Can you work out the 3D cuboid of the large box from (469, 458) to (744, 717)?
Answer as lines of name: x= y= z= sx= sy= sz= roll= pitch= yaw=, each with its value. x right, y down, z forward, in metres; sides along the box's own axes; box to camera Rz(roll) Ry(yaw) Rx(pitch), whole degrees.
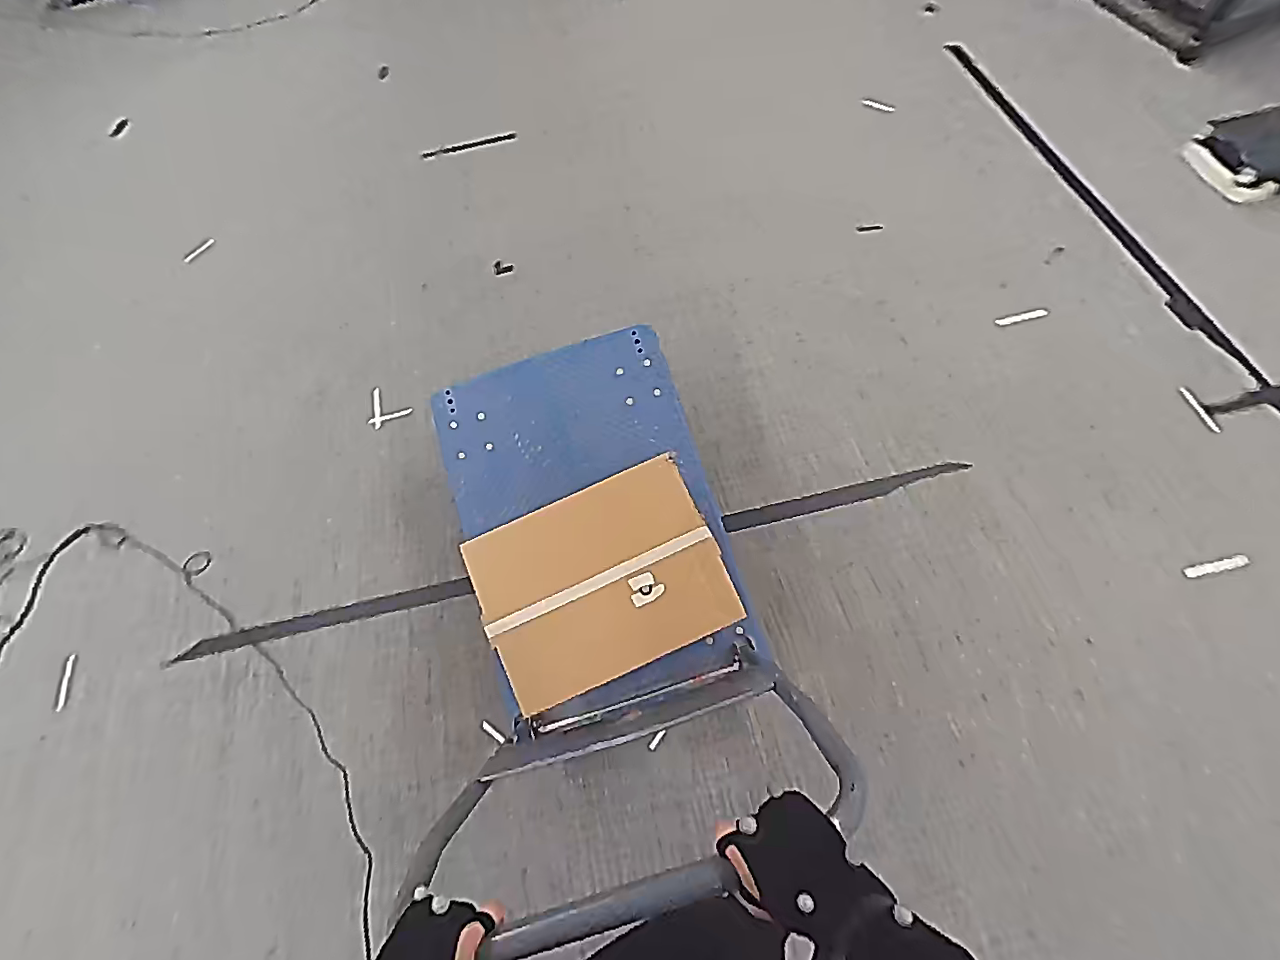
large box: x=-0.059 y=0.209 z=1.079 sx=0.408 sy=0.320 sz=0.320 roll=-25 pitch=79 yaw=-3
